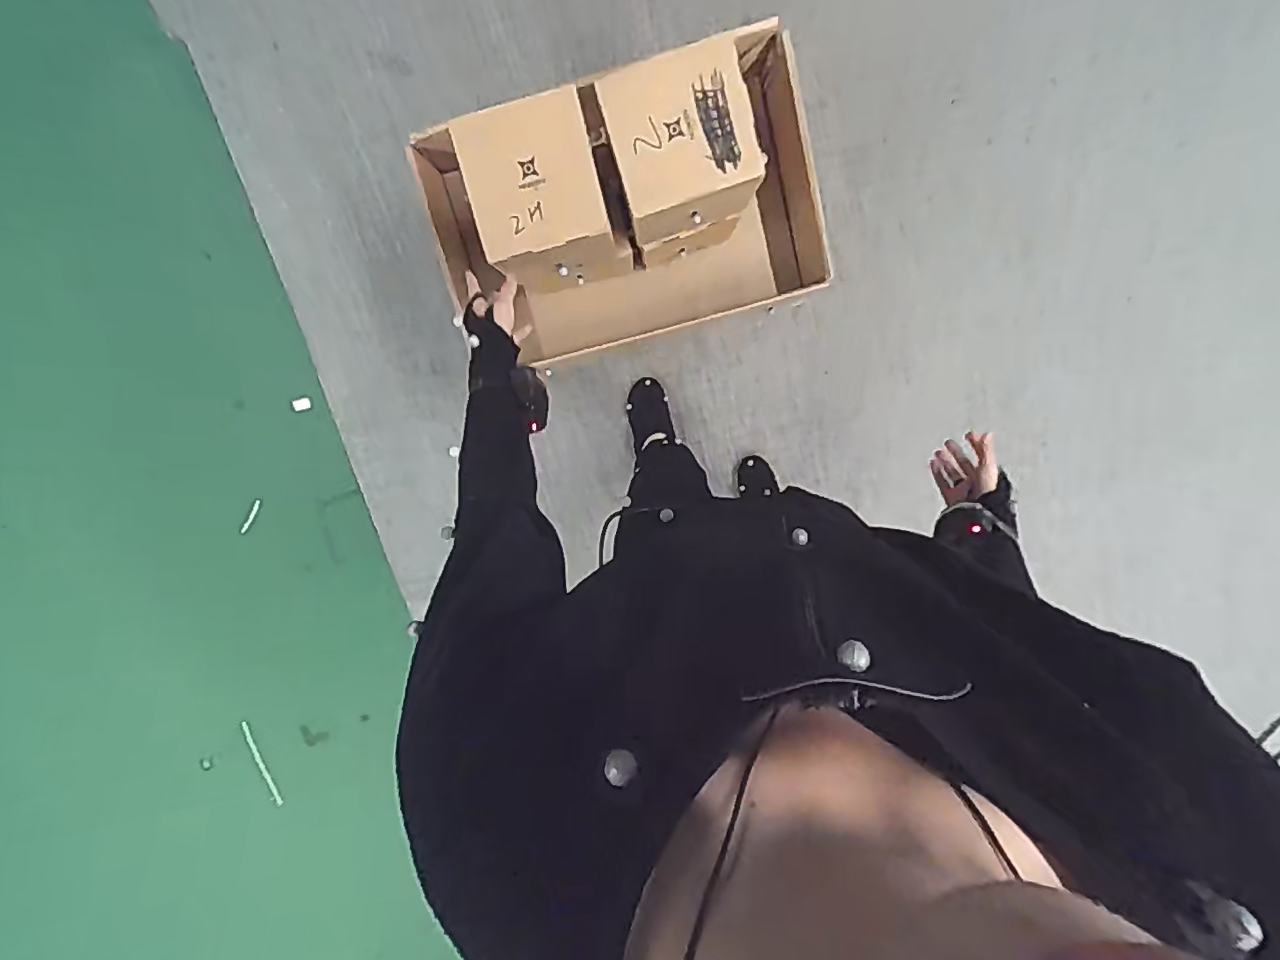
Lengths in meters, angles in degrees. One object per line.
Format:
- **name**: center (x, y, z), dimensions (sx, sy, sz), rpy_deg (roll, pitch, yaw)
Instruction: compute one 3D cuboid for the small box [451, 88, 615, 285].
- **small box**: center (-0.136, -0.392, 0.755), dimensions (0.168, 0.176, 0.179), rpy_deg (-13, 100, 4)
